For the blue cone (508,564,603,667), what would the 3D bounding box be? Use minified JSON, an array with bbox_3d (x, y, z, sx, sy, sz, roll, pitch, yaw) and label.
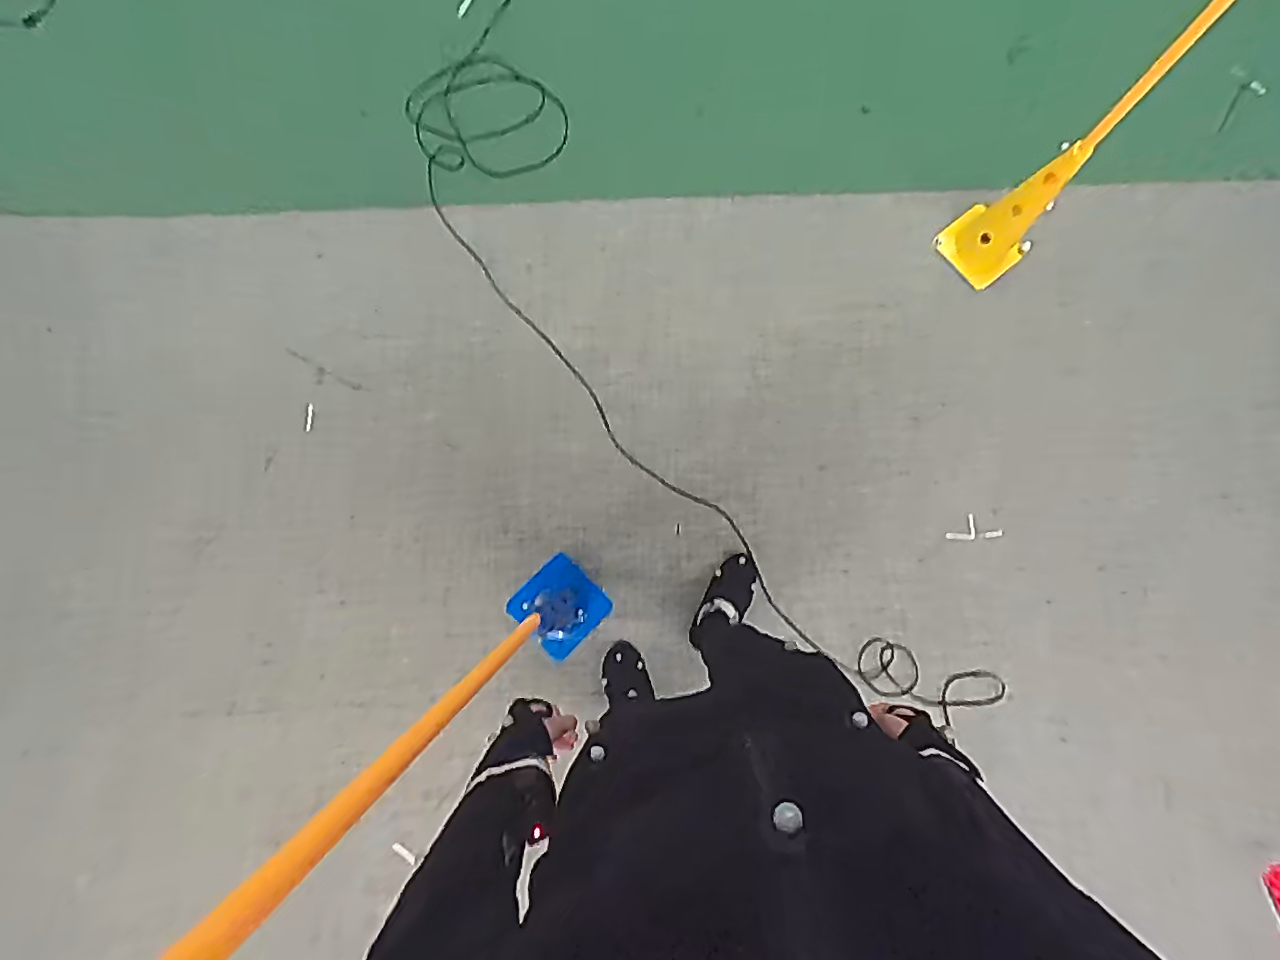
[{"bbox_3d":[-0.201,0.304,1.138,0.192,0.380,0.193,42,84,5],"label":"blue cone"}]
